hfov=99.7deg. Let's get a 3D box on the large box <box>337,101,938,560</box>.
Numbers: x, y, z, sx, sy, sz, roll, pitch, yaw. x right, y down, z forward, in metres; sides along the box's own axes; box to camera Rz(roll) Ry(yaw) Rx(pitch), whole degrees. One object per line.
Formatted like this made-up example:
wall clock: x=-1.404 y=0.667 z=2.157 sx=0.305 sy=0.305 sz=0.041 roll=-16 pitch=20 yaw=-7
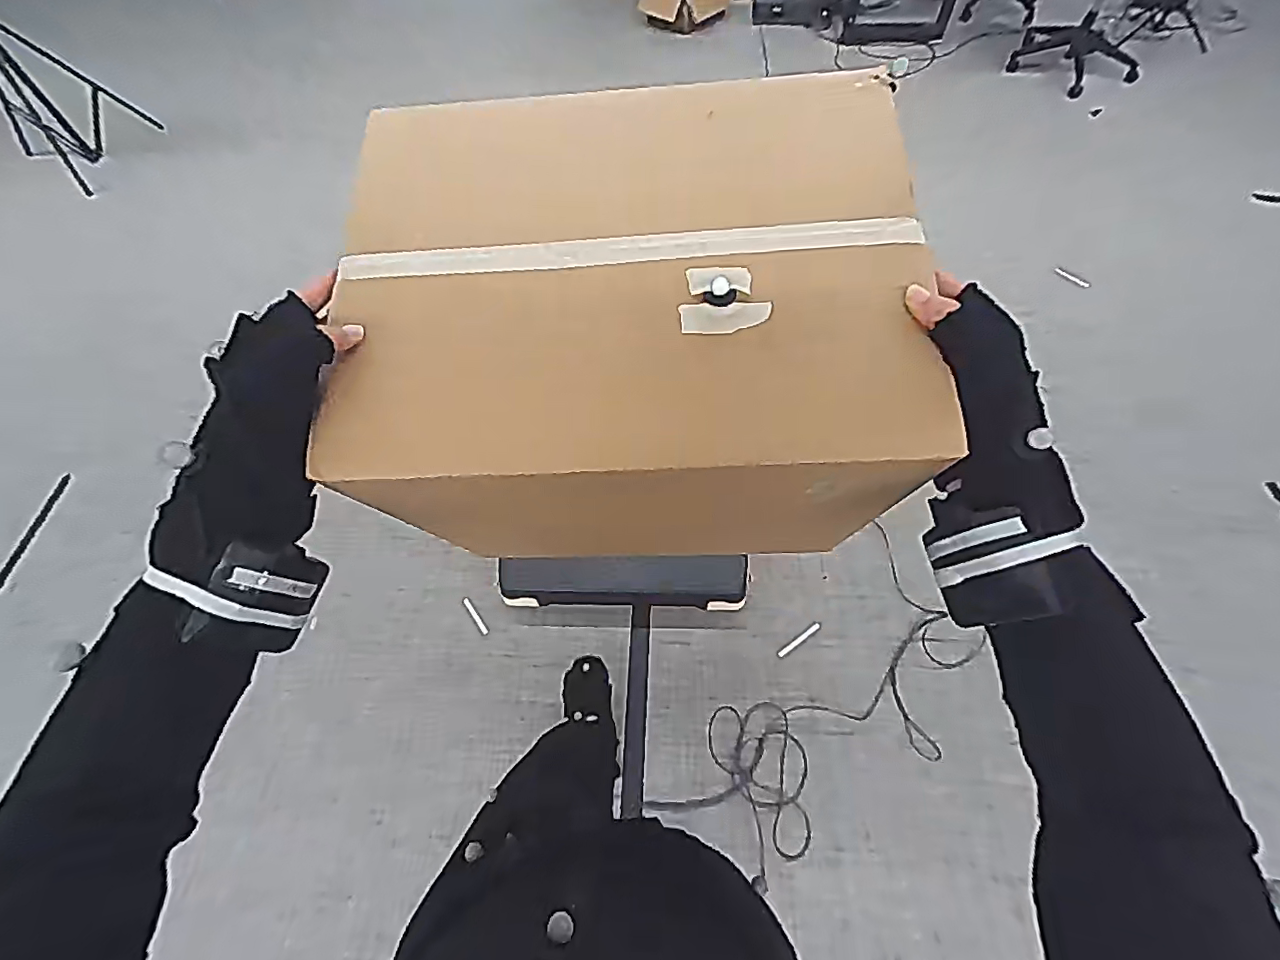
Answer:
large box: x=-0.002 y=-0.105 z=0.539 sx=0.408 sy=0.320 sz=0.320 roll=-2 pitch=72 yaw=4
